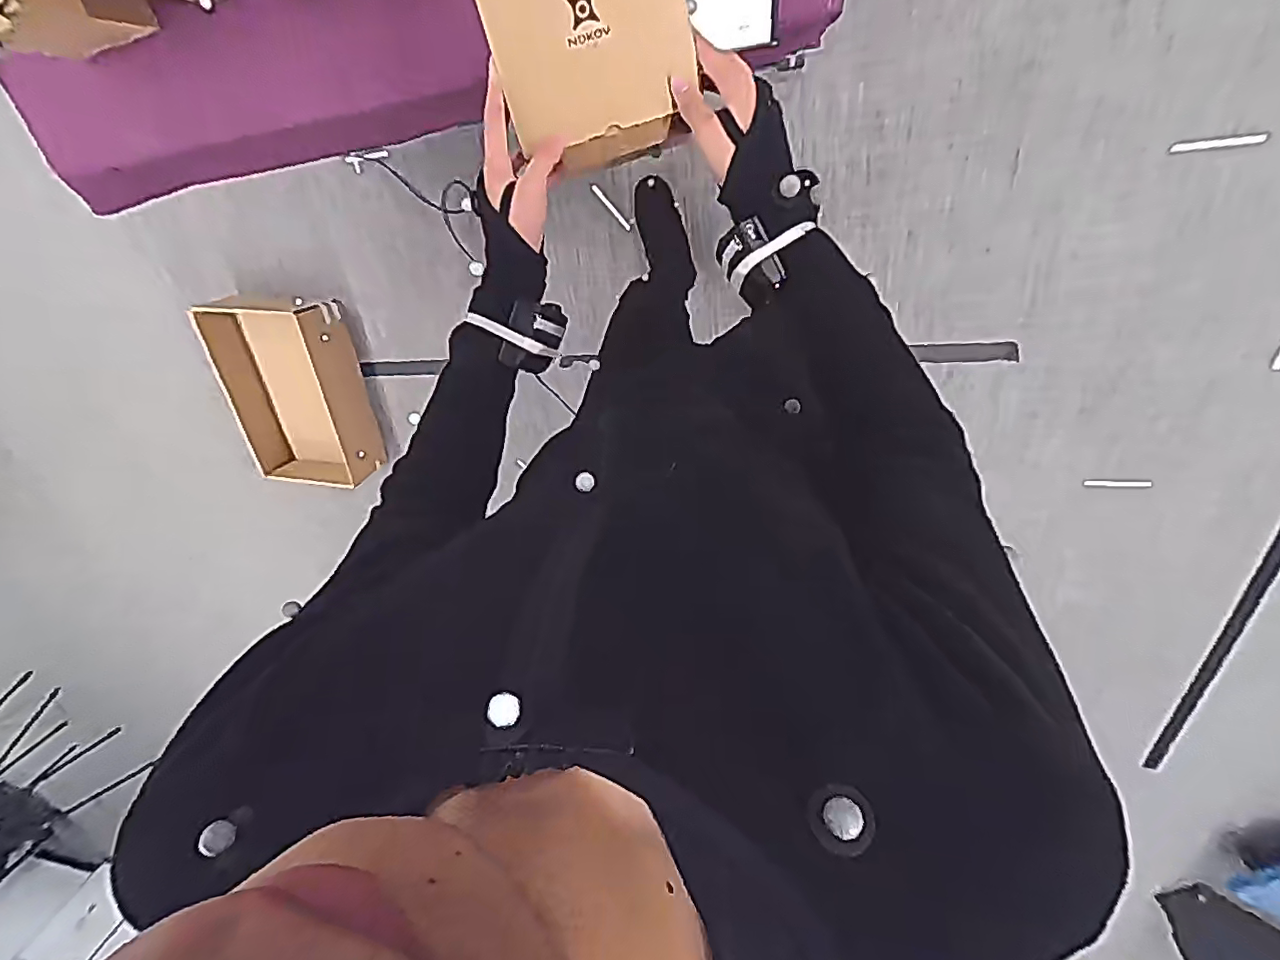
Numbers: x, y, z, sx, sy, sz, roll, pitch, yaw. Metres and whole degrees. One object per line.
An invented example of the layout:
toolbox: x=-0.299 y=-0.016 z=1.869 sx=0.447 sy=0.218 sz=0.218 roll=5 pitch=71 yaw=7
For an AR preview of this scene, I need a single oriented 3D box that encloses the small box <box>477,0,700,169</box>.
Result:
small box: x=-0.043 y=-0.409 z=0.506 sx=0.168 sy=0.176 sz=0.179 roll=-13 pitch=112 yaw=7
